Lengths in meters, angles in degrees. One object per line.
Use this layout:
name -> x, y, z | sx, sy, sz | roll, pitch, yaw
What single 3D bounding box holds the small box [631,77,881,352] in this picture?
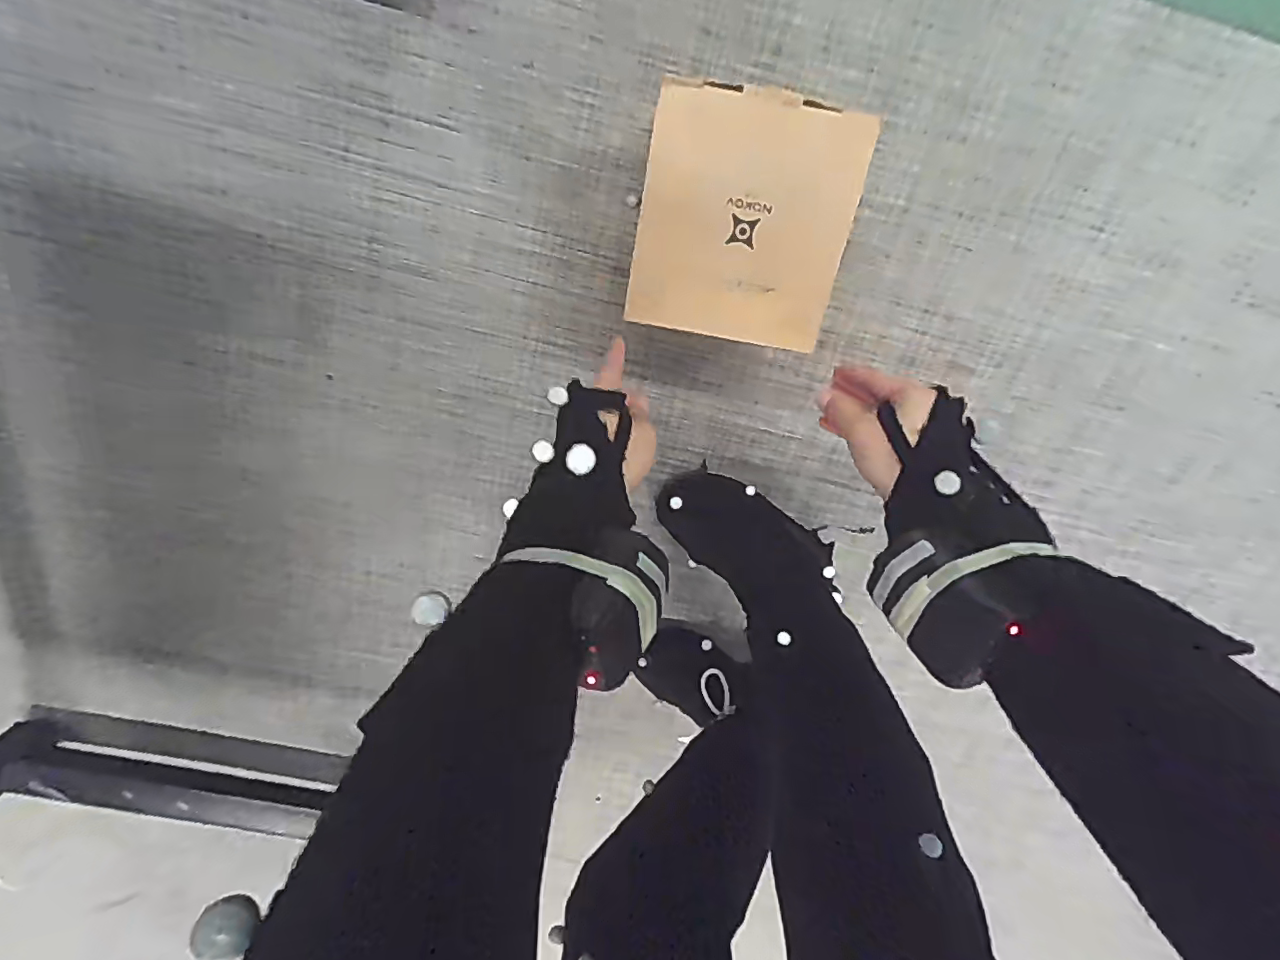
small box -> 0.087, -0.230, 0.500 | 0.168, 0.176, 0.179 | 9, 112, -1
